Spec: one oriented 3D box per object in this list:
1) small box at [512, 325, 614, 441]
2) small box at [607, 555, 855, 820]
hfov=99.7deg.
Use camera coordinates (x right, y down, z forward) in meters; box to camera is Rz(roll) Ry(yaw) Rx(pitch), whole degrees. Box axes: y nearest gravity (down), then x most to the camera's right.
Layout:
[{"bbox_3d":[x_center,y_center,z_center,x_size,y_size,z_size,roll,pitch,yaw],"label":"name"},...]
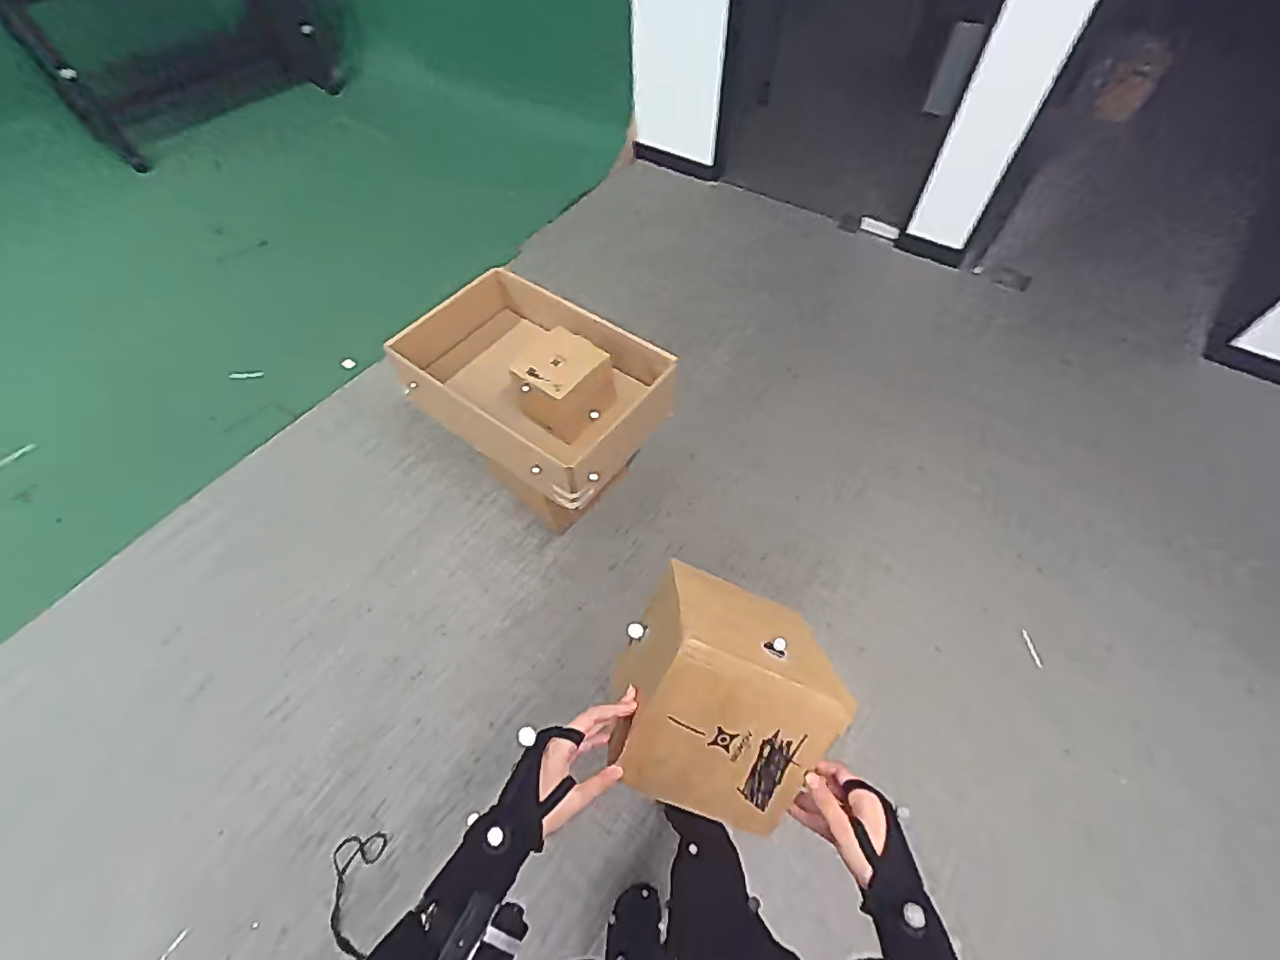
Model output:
[{"bbox_3d":[-0.176,-0.230,1.292,0.168,0.176,0.179,33,63,22],"label":"small box"},{"bbox_3d":[0.080,0.200,0.564,0.179,0.176,0.168,23,103,-7],"label":"small box"}]
